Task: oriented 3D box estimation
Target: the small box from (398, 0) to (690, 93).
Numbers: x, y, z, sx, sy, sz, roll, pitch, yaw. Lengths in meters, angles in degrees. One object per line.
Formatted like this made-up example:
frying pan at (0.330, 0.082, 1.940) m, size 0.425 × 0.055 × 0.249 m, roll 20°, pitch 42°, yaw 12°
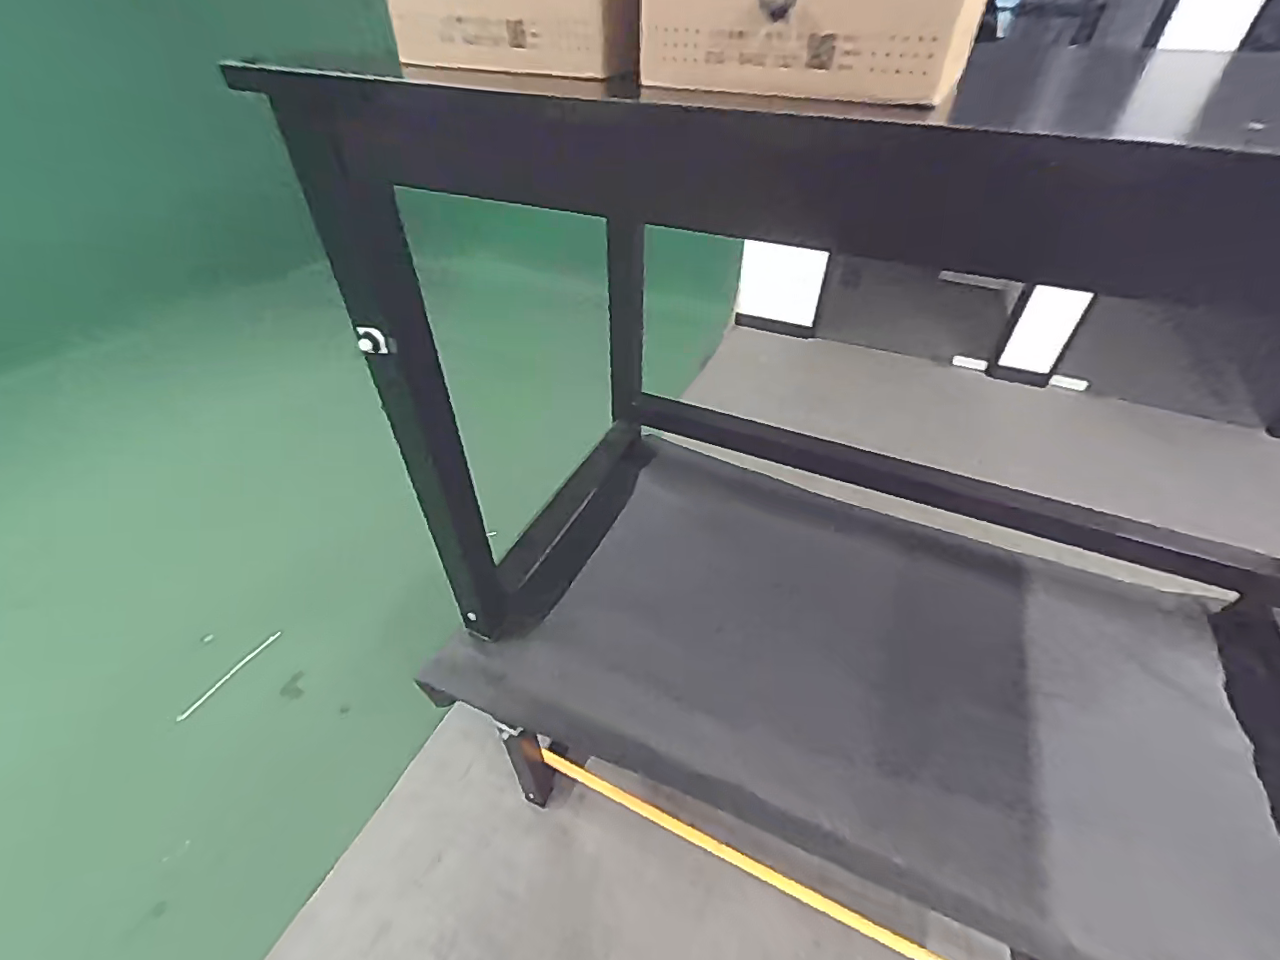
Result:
small box at (-0.062, -0.382, 0.376) m, size 0.168 × 0.176 × 0.179 m, roll 18°, pitch 44°, yaw 18°
